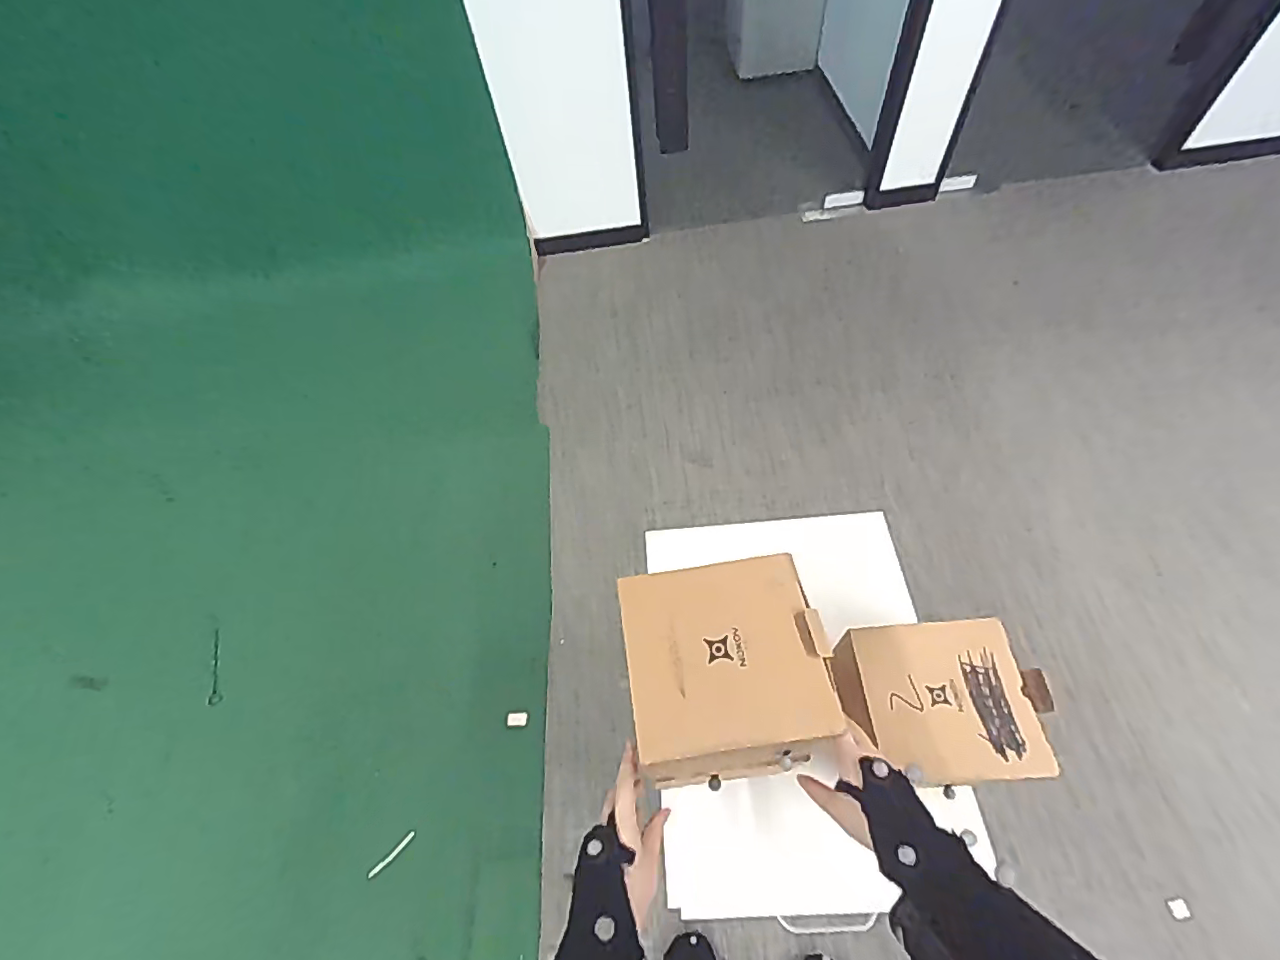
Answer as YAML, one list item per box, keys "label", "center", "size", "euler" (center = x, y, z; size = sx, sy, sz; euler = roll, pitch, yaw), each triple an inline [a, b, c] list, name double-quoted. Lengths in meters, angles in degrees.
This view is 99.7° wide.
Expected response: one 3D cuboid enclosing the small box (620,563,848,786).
- label: "small box"
  center: [0.081, 0.203, 0.551]
  size: [0.179, 0.176, 0.168]
  euler: [-9, 56, -1]
